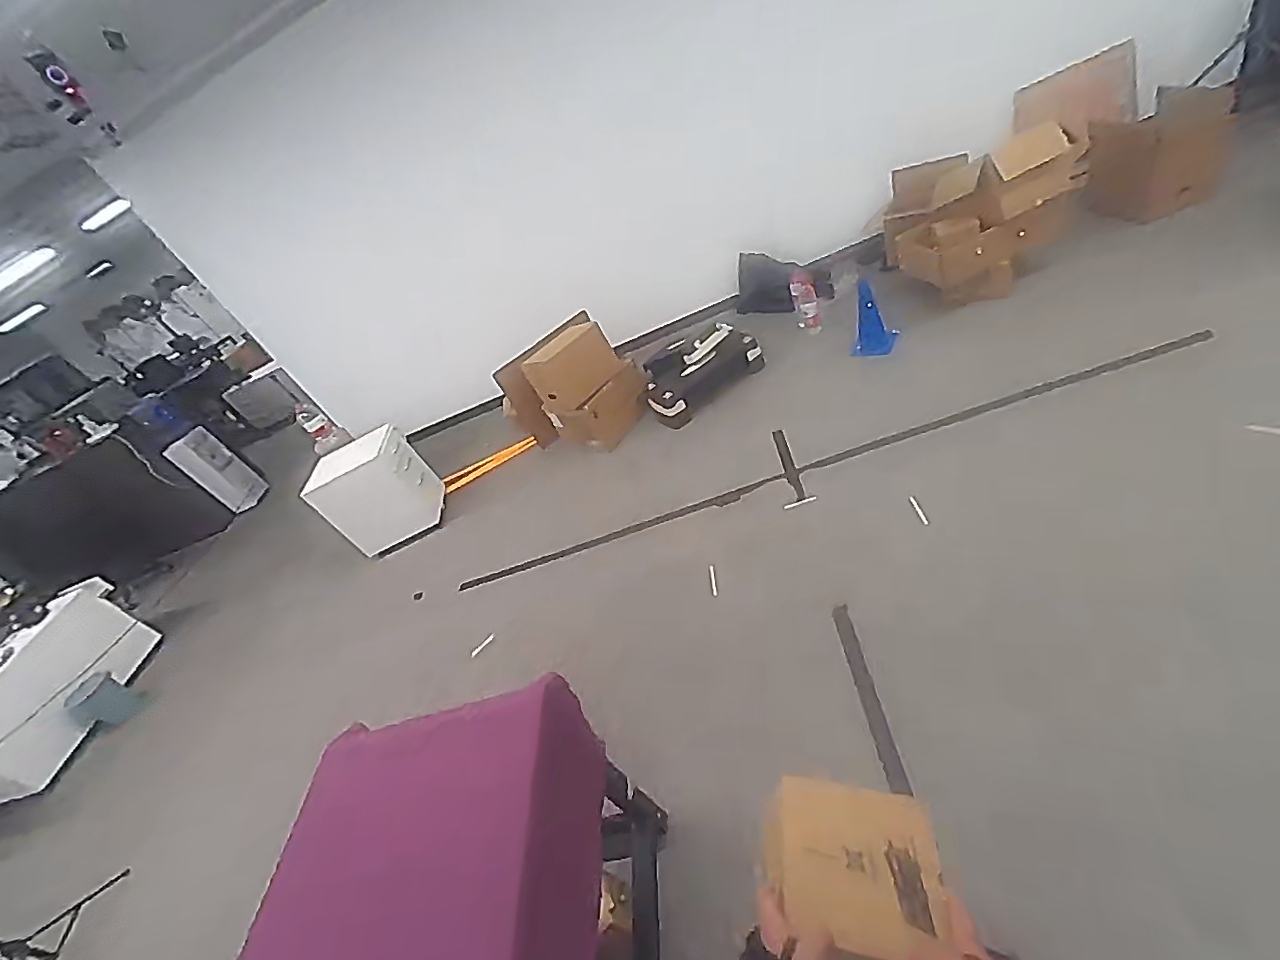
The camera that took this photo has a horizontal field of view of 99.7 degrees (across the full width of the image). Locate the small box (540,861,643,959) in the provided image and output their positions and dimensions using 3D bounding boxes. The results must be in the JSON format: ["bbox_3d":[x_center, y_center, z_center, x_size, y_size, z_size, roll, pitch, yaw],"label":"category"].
[{"bbox_3d":[-0.123,1.143,1.393,0.179,0.176,0.168,-37,36,-9],"label":"small box"}]

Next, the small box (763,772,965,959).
[{"bbox_3d":[0.250,0.486,0.648,0.179,0.176,0.168,7,38,9],"label":"small box"}]
